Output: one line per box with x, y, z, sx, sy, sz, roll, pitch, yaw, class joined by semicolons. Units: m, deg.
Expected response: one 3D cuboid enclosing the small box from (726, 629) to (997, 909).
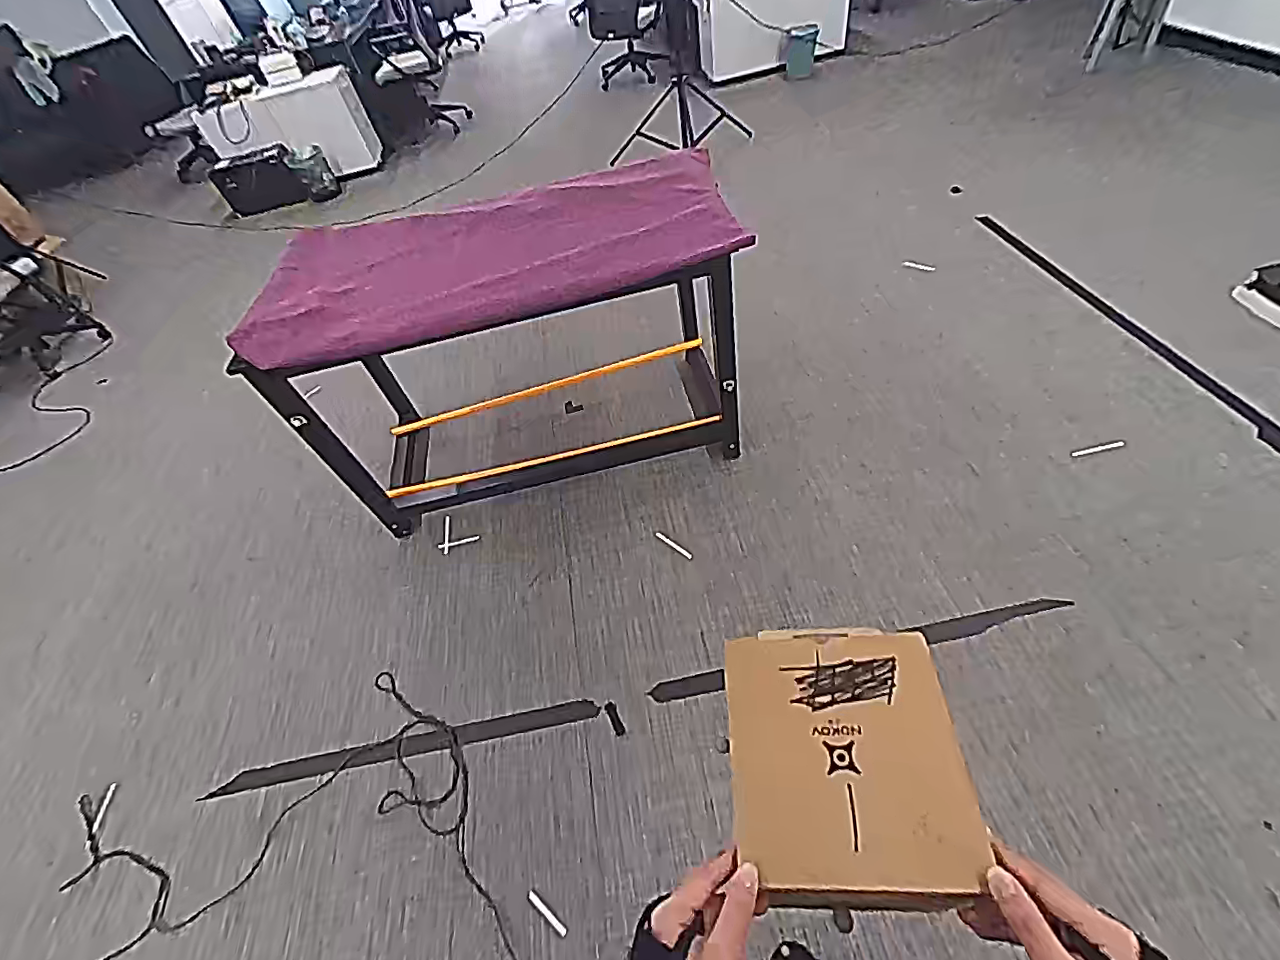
0.162;0.248;0.466;0.168;0.176;0.179;-5;48;9;small box
